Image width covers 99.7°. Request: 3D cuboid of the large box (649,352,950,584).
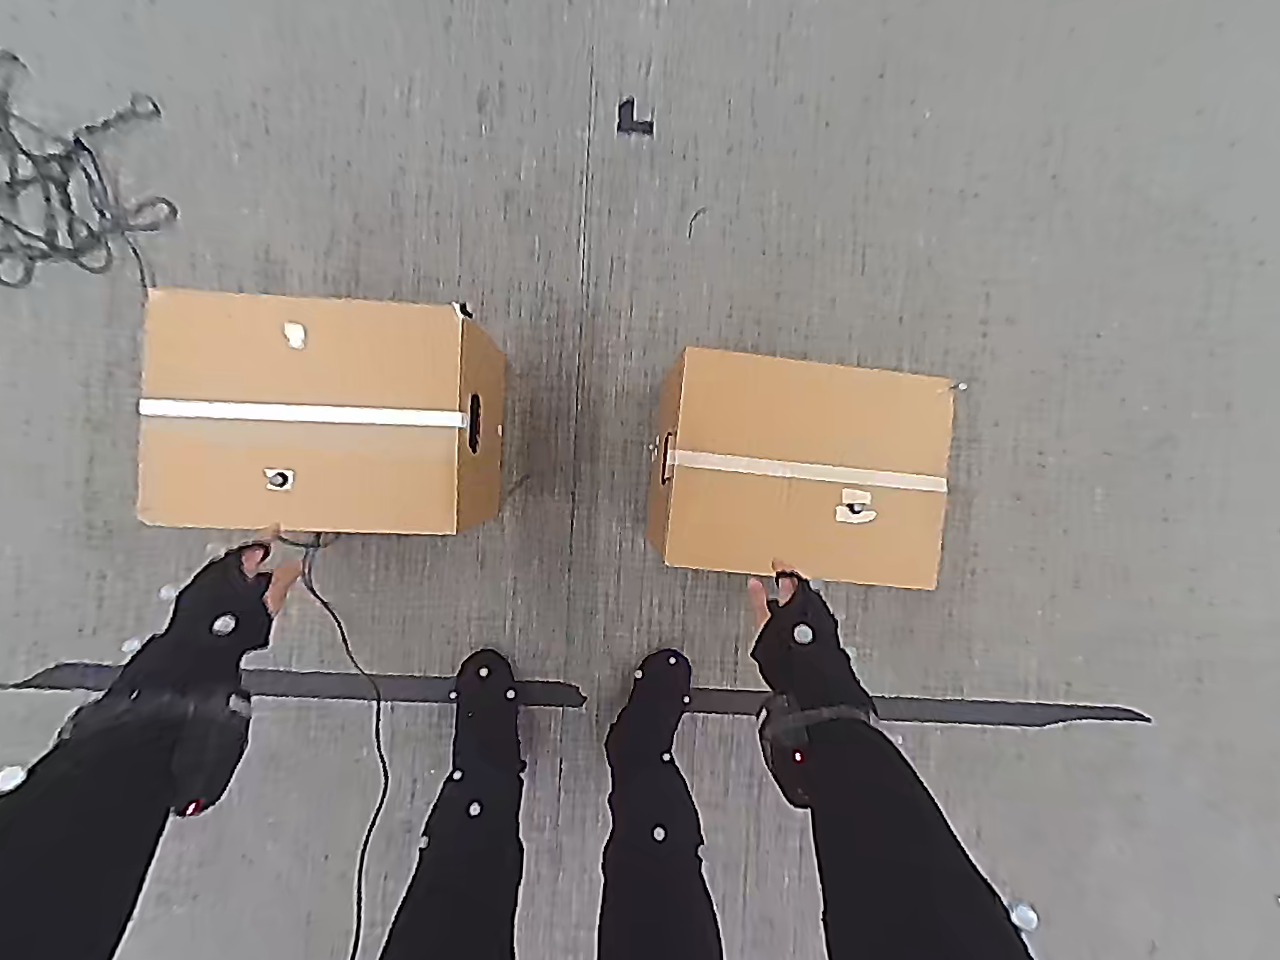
[{"bbox_3d":[0.238,-0.014,0.934,0.408,0.320,0.320,6,90,-5],"label":"large box"}]
